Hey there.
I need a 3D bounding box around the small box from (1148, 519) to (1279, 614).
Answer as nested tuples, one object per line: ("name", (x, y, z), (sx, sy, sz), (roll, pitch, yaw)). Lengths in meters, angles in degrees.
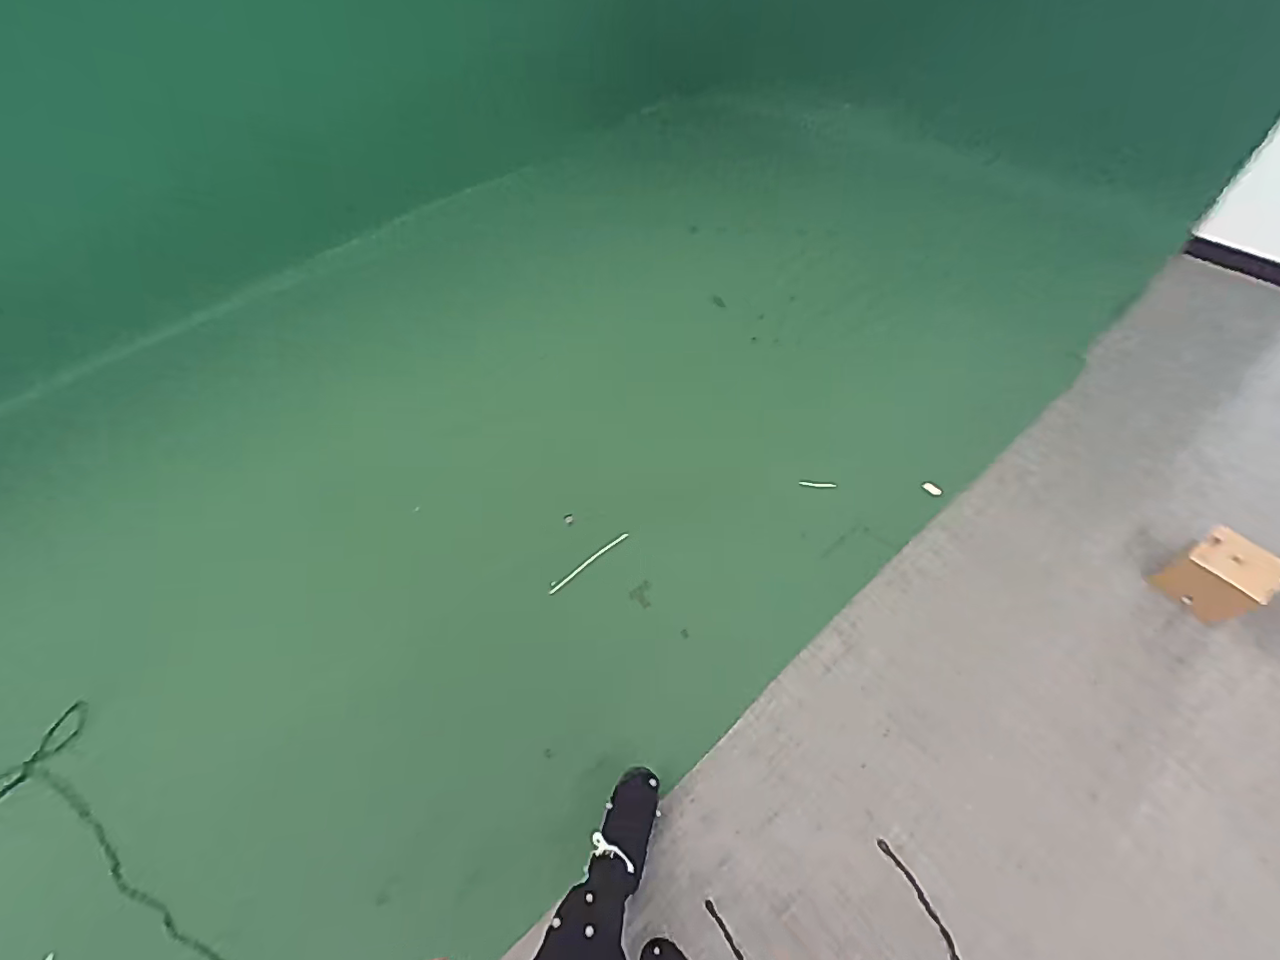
("small box", (1.587, 0.248, 1.493), (0.168, 0.176, 0.179), (-35, 59, -17))
